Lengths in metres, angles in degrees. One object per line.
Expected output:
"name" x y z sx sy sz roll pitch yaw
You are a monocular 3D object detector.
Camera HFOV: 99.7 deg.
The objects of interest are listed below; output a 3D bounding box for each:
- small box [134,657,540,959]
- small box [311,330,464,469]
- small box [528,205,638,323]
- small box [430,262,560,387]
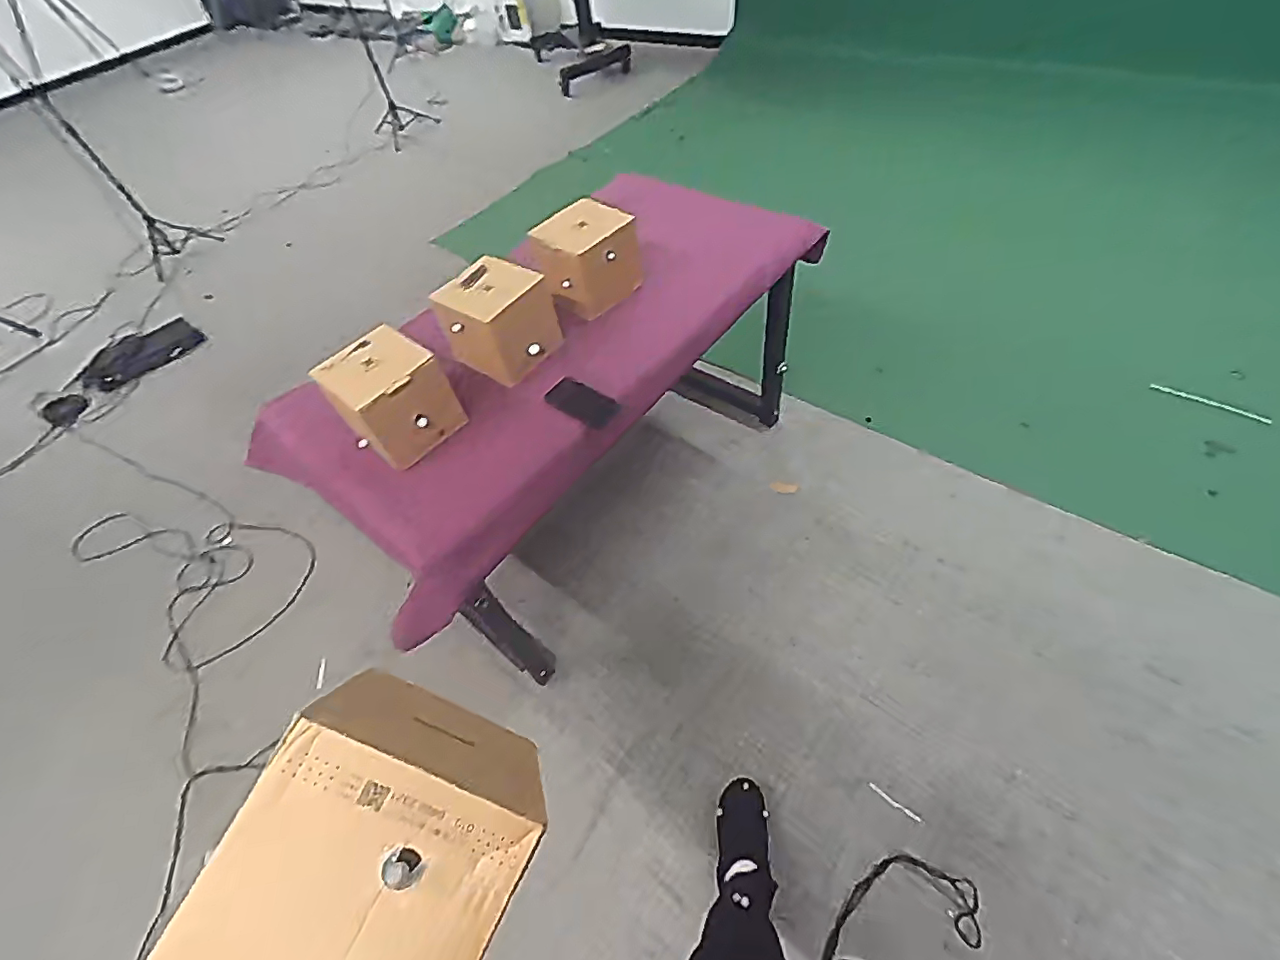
"small box" -0.186 0.248 0.394 0.168 0.179 0.176 30 75 -7
"small box" -0.468 -0.146 1.026 0.179 0.176 0.168 33 64 28
"small box" -0.120 -0.488 1.230 0.168 0.176 0.179 35 65 29
"small box" -0.295 -0.323 1.131 0.179 0.176 0.168 27 62 25
